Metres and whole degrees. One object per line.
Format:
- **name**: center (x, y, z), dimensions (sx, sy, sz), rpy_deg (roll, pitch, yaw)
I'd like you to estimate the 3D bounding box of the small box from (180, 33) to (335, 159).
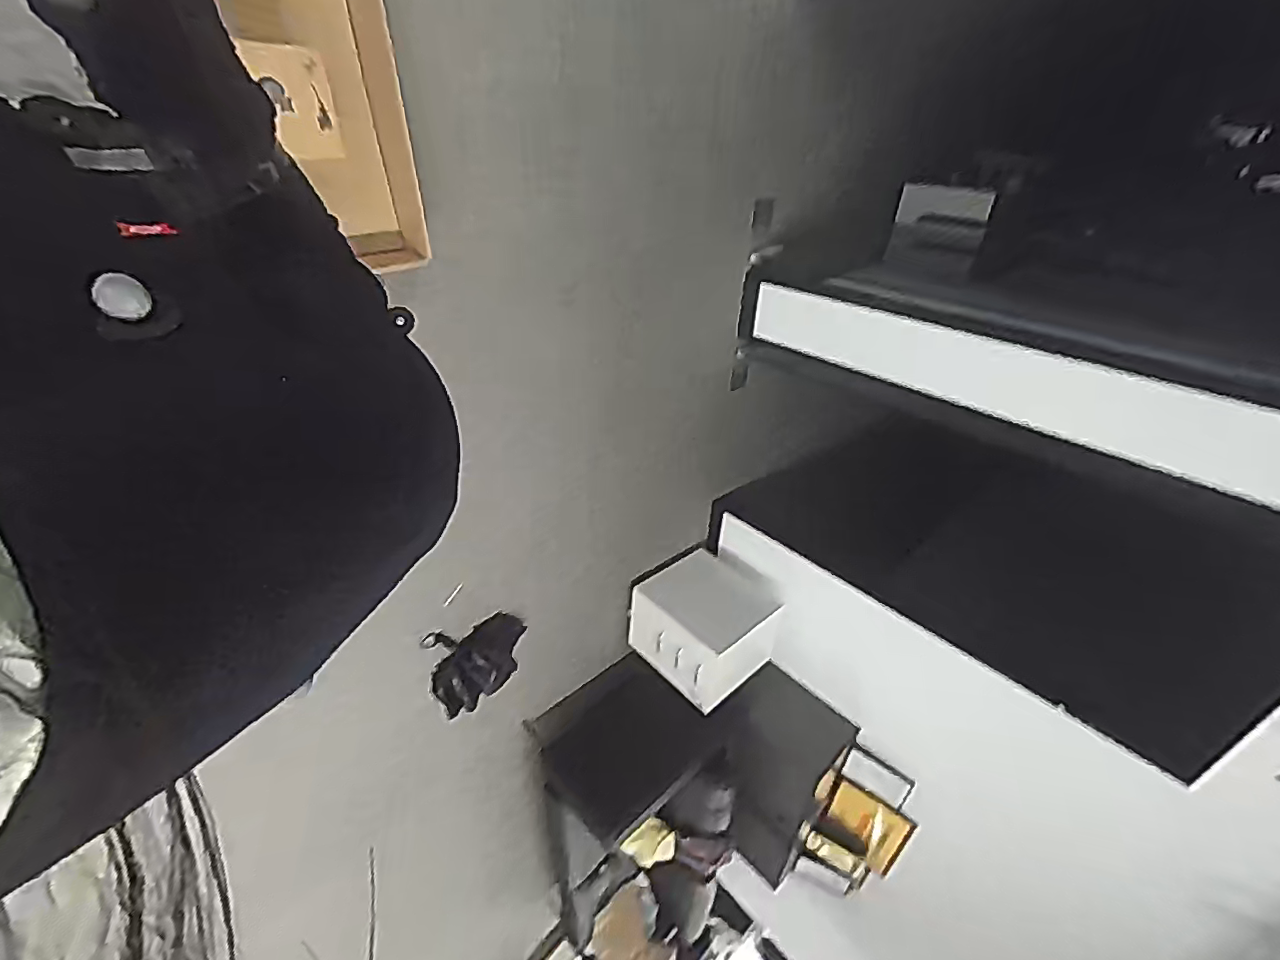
- **small box**: center (-0.682, -0.673, 0.963), dimensions (0.179, 0.176, 0.168), rpy_deg (-25, 132, -37)
